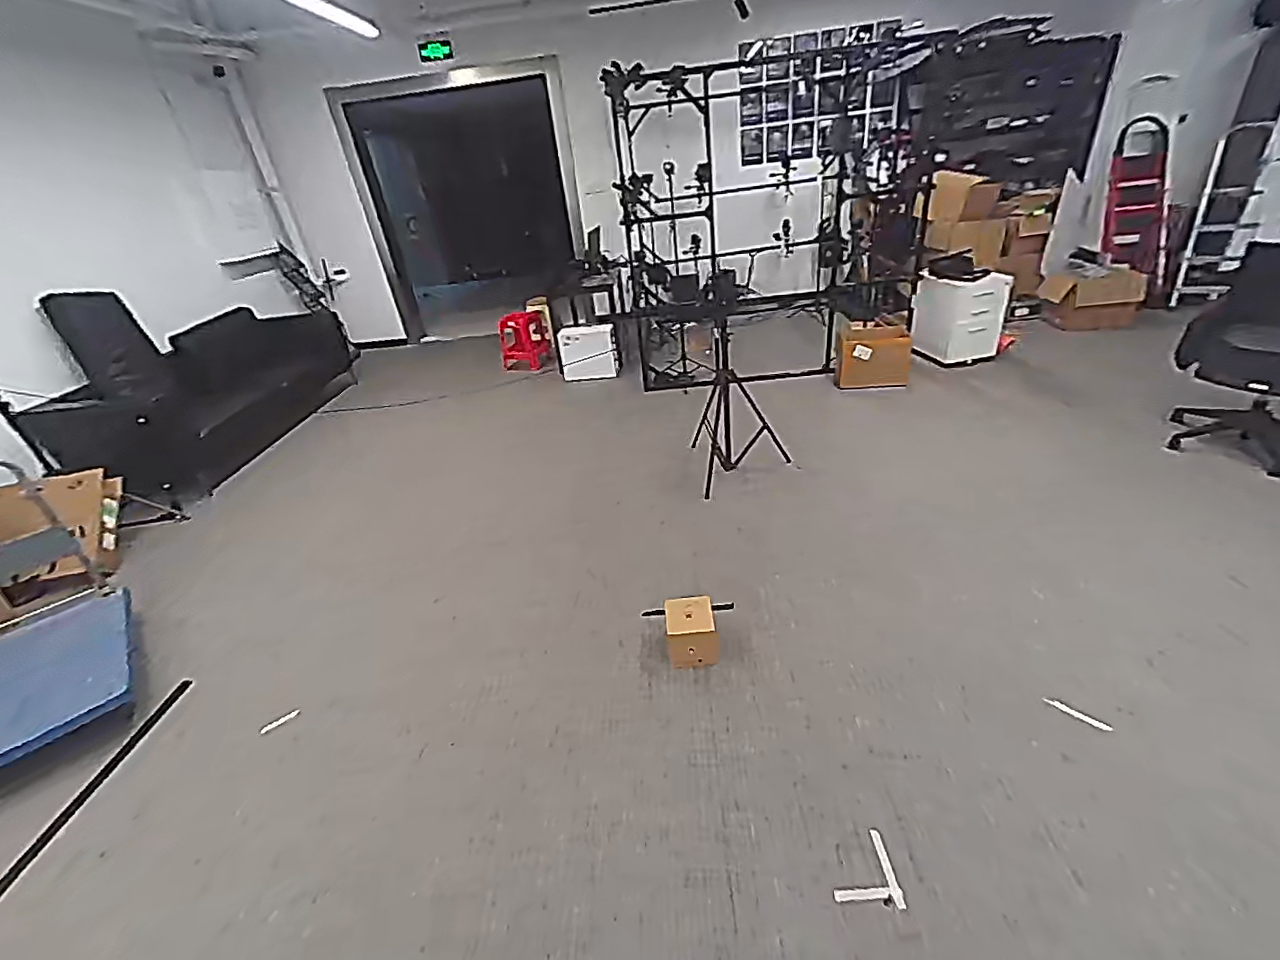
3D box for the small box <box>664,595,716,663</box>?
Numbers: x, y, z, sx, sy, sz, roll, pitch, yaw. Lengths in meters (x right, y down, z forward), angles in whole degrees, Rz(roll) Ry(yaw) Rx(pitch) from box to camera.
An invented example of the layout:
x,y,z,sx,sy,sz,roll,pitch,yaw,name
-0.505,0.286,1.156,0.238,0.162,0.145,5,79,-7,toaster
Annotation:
x,y,z,sx,sy,sz,roll,pitch,yaw,name
0.181,0.543,1.952,0.168,0.176,0.179,-6,30,2,small box
